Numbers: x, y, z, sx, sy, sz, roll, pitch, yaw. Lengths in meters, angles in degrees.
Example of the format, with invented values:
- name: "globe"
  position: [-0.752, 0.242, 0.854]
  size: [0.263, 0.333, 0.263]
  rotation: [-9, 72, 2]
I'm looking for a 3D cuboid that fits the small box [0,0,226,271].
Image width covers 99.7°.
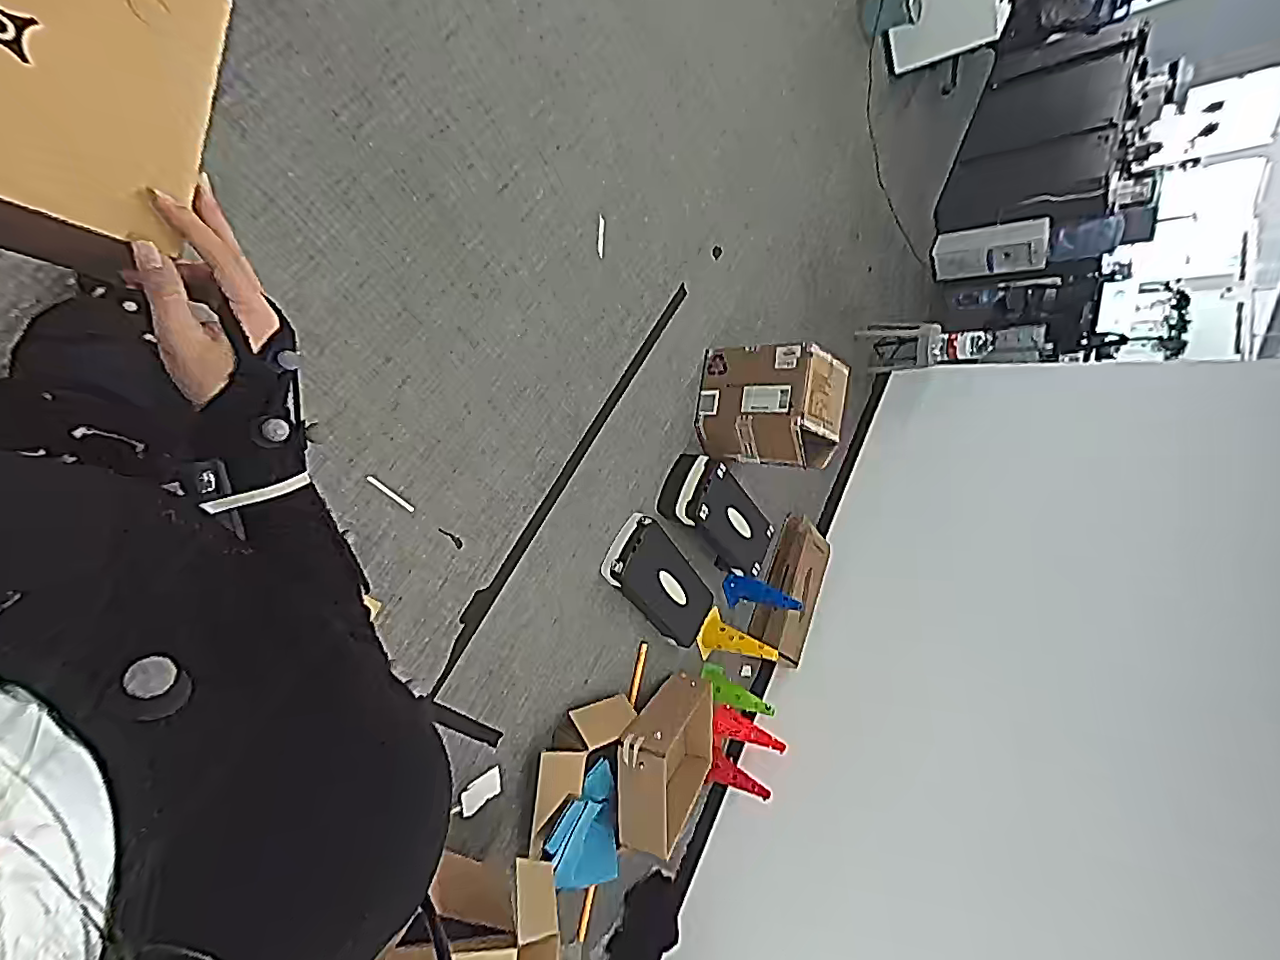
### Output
- name: "small box"
  position: [-0.380, -0.235, 0.312]
  size: [0.179, 0.176, 0.168]
  rotation: [11, 90, -50]
